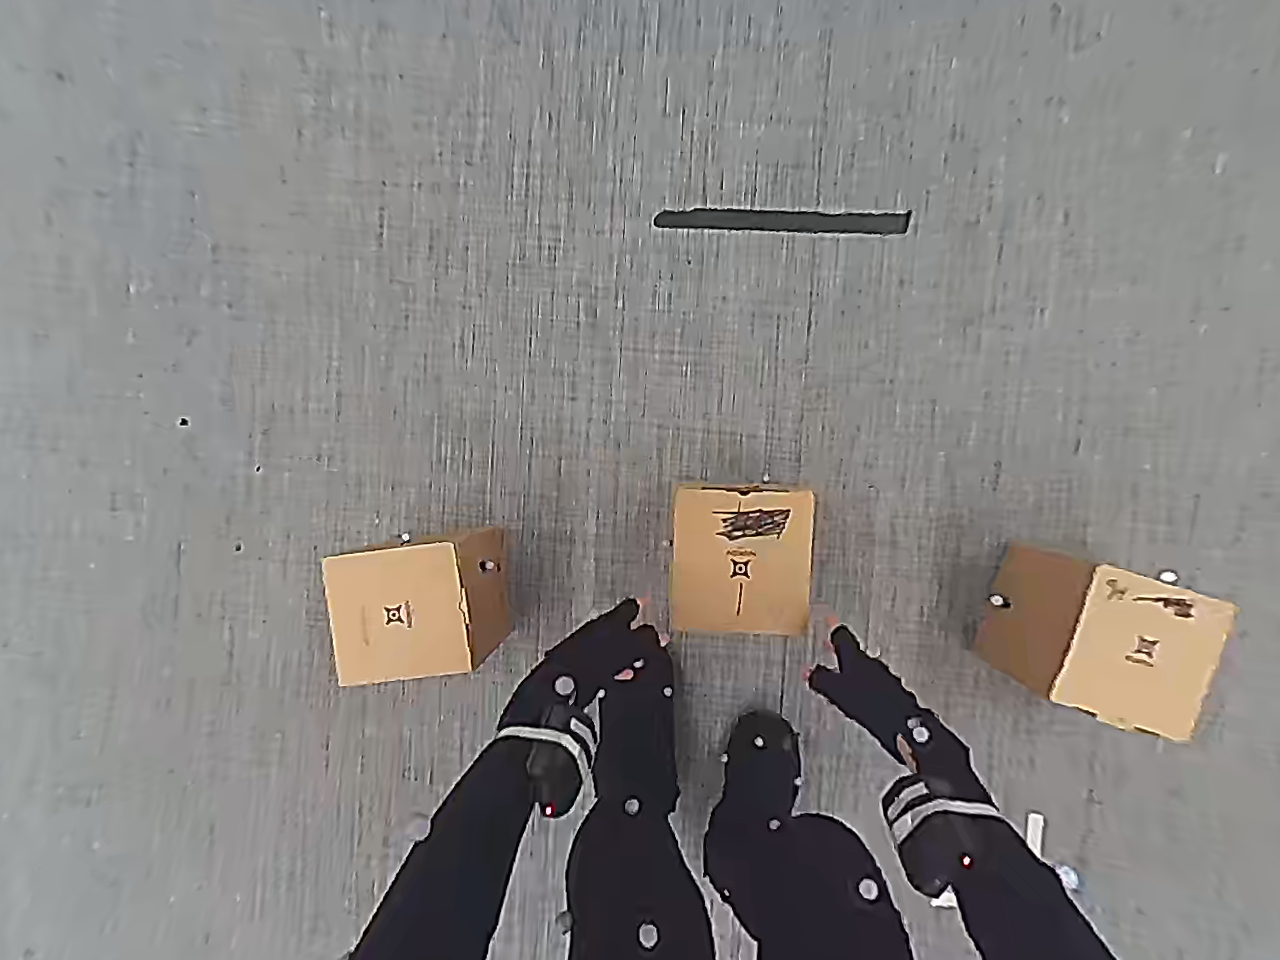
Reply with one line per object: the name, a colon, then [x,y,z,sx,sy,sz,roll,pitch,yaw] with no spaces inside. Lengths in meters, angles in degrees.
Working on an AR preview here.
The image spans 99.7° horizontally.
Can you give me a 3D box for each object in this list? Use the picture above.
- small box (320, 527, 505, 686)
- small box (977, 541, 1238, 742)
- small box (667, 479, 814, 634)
small box: [-0.295,0.162,0.742,0.179,0.176,0.168,-8,90,4]
small box: [0.580,0.194,0.701,0.168,0.176,0.179,18,93,2]
small box: [0.122,0.090,0.717,0.168,0.176,0.179,2,93,3]
